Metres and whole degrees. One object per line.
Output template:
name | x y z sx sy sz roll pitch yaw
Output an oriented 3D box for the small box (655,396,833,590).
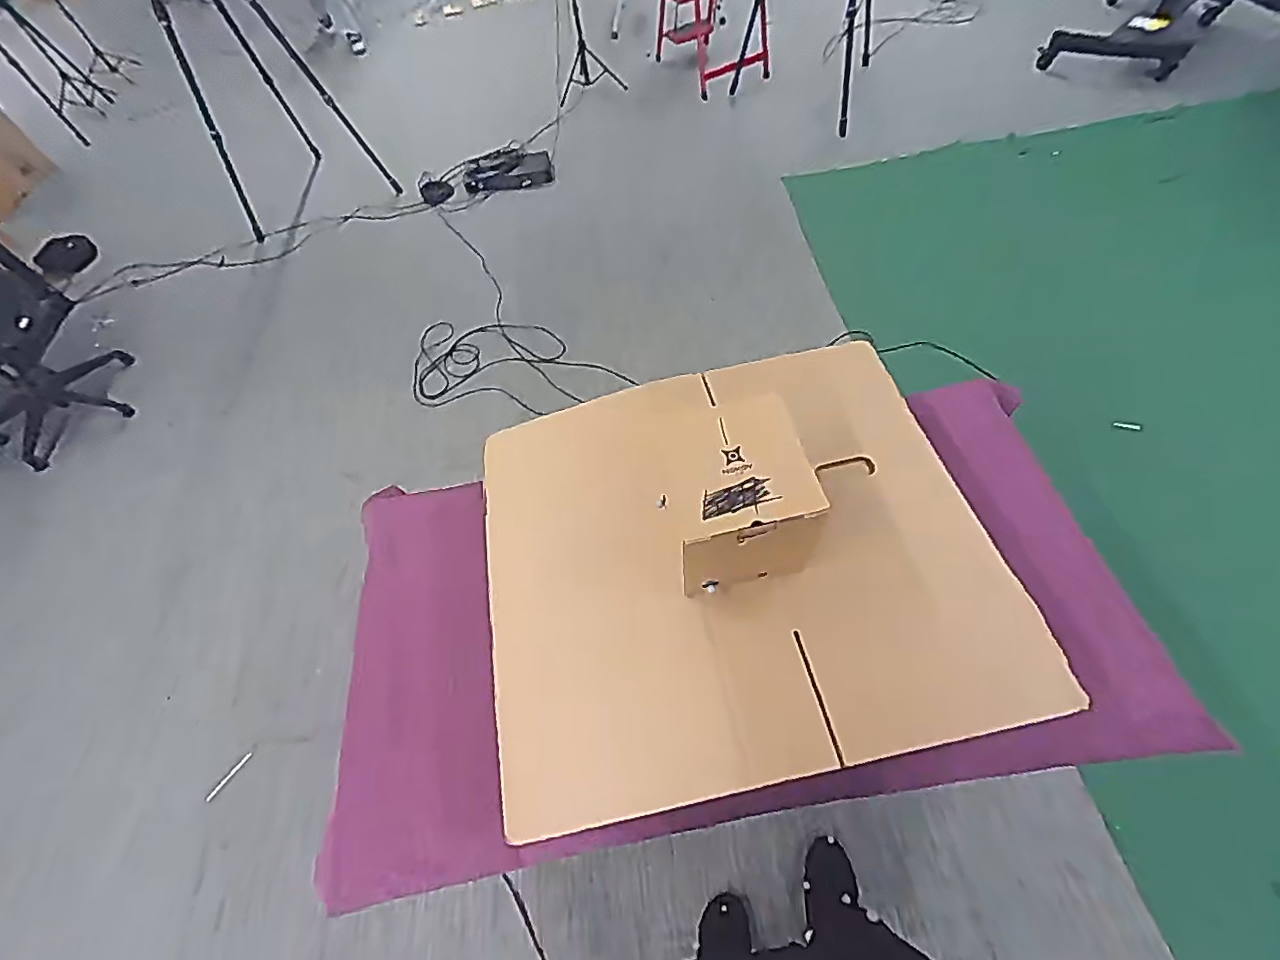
small box | 0.121 0.026 0.687 0.168 0.176 0.179 -12 57 -2
